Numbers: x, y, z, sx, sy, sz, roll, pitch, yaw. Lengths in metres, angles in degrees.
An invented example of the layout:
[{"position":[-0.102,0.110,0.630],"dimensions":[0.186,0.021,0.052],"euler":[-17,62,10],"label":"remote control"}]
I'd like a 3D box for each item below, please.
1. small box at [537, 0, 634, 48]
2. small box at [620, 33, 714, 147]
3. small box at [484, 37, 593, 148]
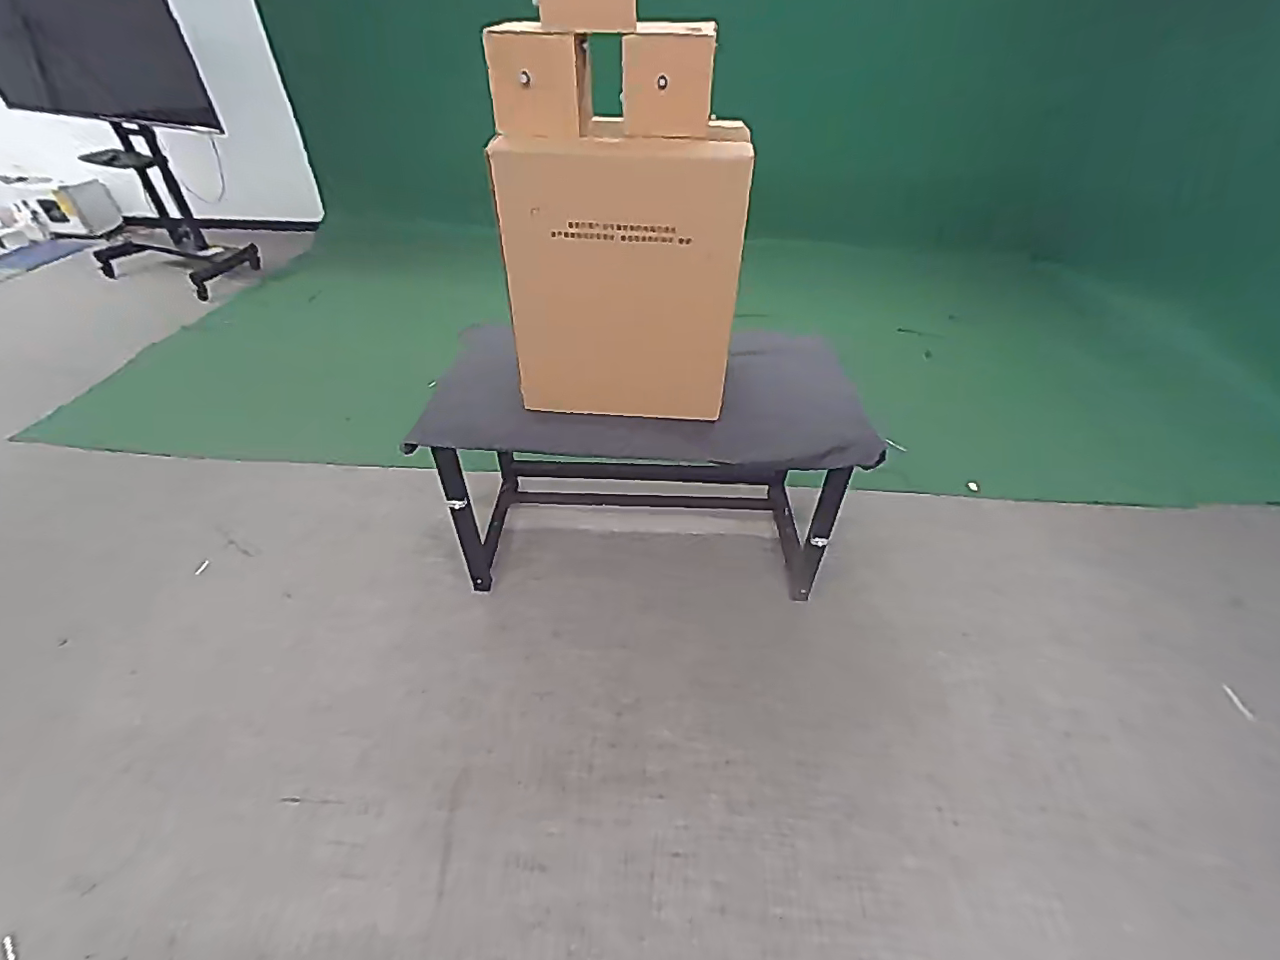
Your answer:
[{"position":[-0.101,-0.918,1.007],"dimensions":[0.179,0.176,0.168],"euler":[-4,43,-3],"label":"small box"},{"position":[0.058,-0.805,1.121],"dimensions":[0.179,0.176,0.168],"euler":[4,45,5],"label":"small box"},{"position":[-0.200,-0.802,1.121],"dimensions":[0.179,0.176,0.168],"euler":[4,45,4],"label":"small box"}]
